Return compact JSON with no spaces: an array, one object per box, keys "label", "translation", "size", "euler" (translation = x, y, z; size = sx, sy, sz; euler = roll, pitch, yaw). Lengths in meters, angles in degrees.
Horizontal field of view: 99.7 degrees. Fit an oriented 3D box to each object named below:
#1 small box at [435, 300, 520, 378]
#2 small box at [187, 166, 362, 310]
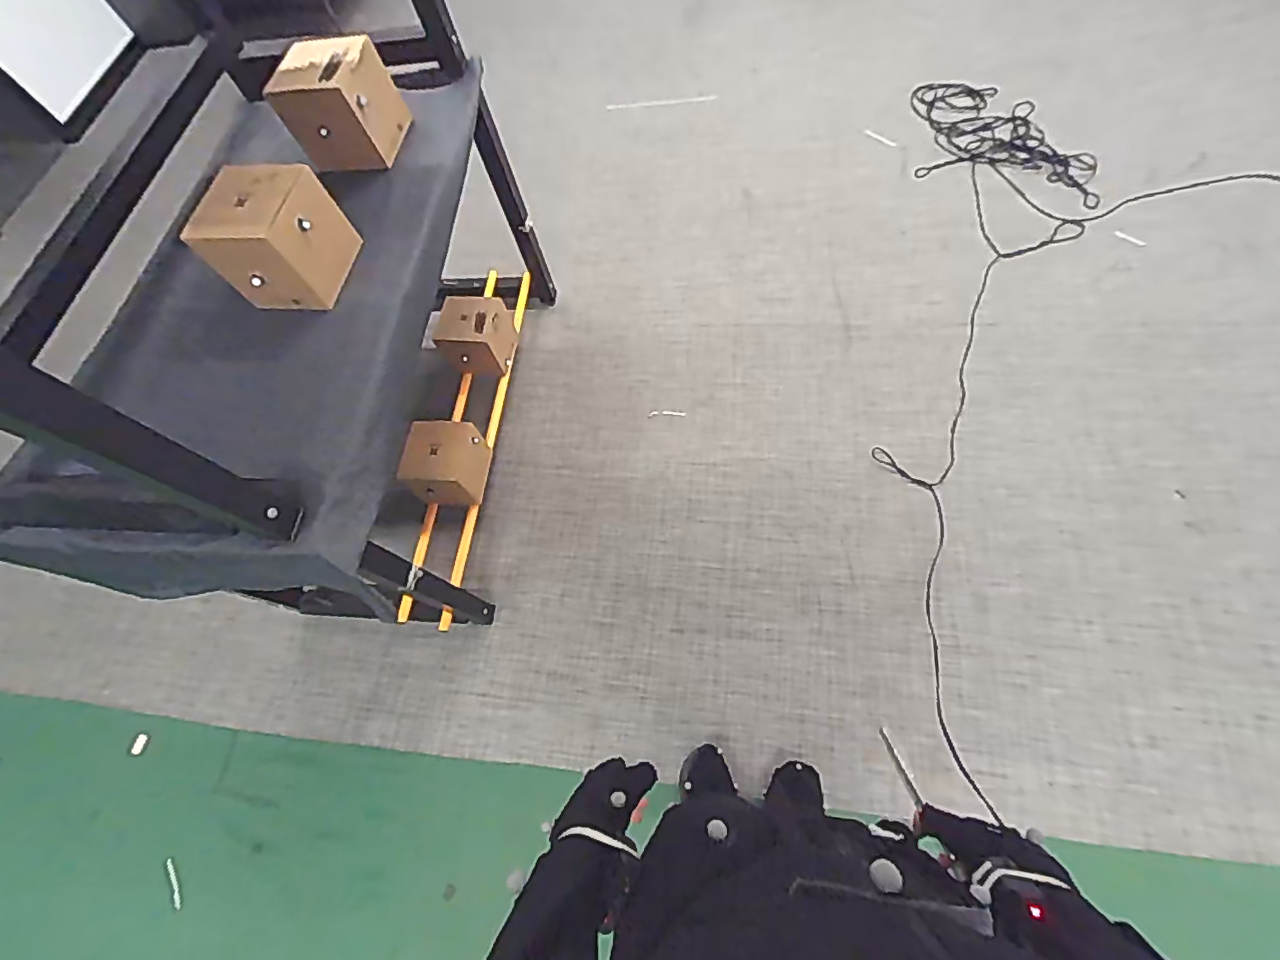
[{"label":"small box","translation":[-0.484,-0.424,1.642],"size":[0.179,0.176,0.168],"euler":[5,66,10]},{"label":"small box","translation":[-0.639,-0.427,0.972],"size":[0.168,0.176,0.179],"euler":[5,66,10]}]
